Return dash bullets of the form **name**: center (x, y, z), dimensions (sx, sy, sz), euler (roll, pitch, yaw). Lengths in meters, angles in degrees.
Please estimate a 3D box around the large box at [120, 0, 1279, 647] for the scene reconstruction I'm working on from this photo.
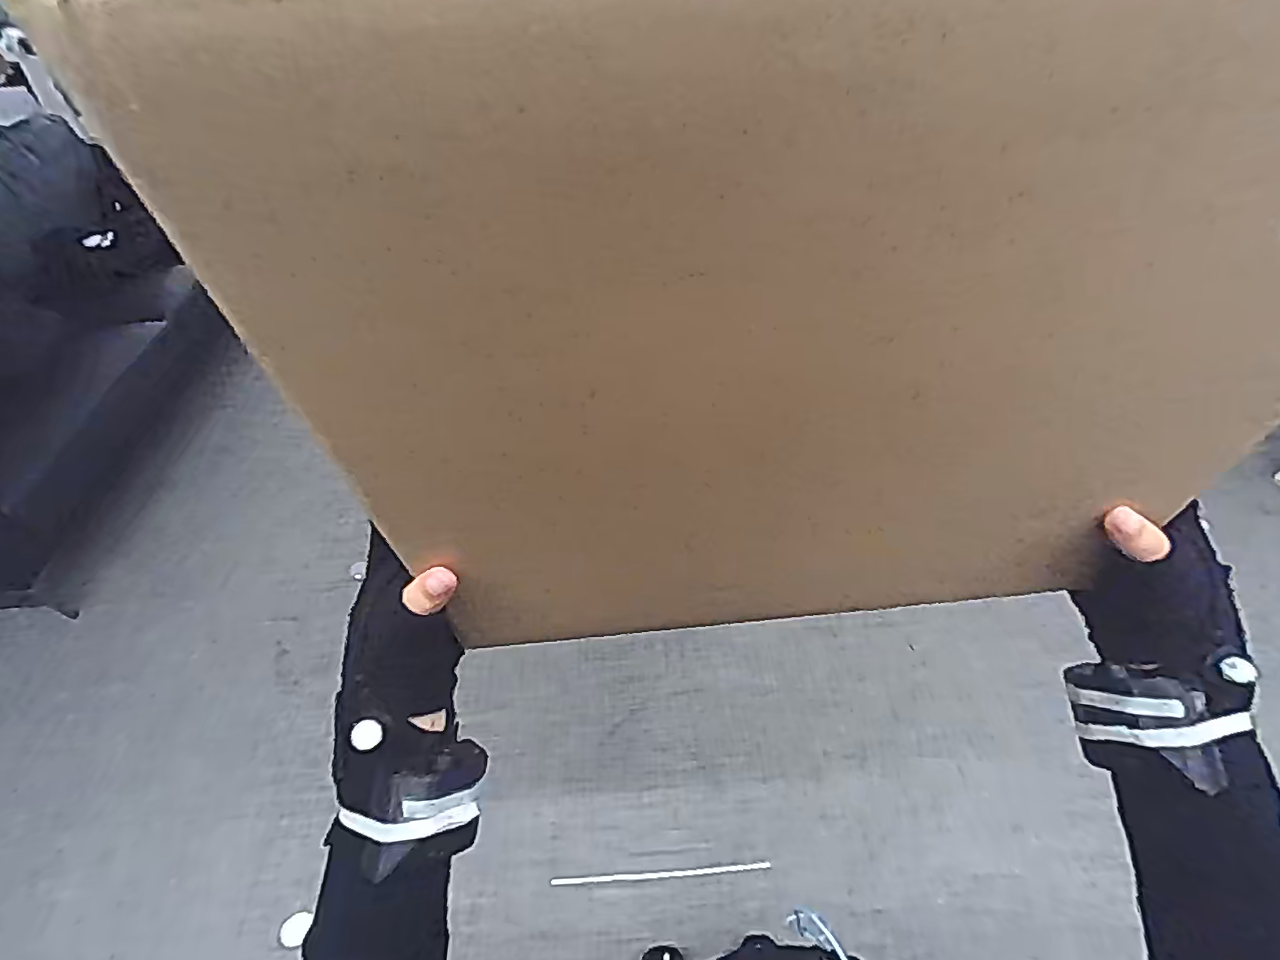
- **large box**: center (0.075, -0.125, 0.330), dimensions (0.408, 0.320, 0.320), euler (-6, 49, -2)
